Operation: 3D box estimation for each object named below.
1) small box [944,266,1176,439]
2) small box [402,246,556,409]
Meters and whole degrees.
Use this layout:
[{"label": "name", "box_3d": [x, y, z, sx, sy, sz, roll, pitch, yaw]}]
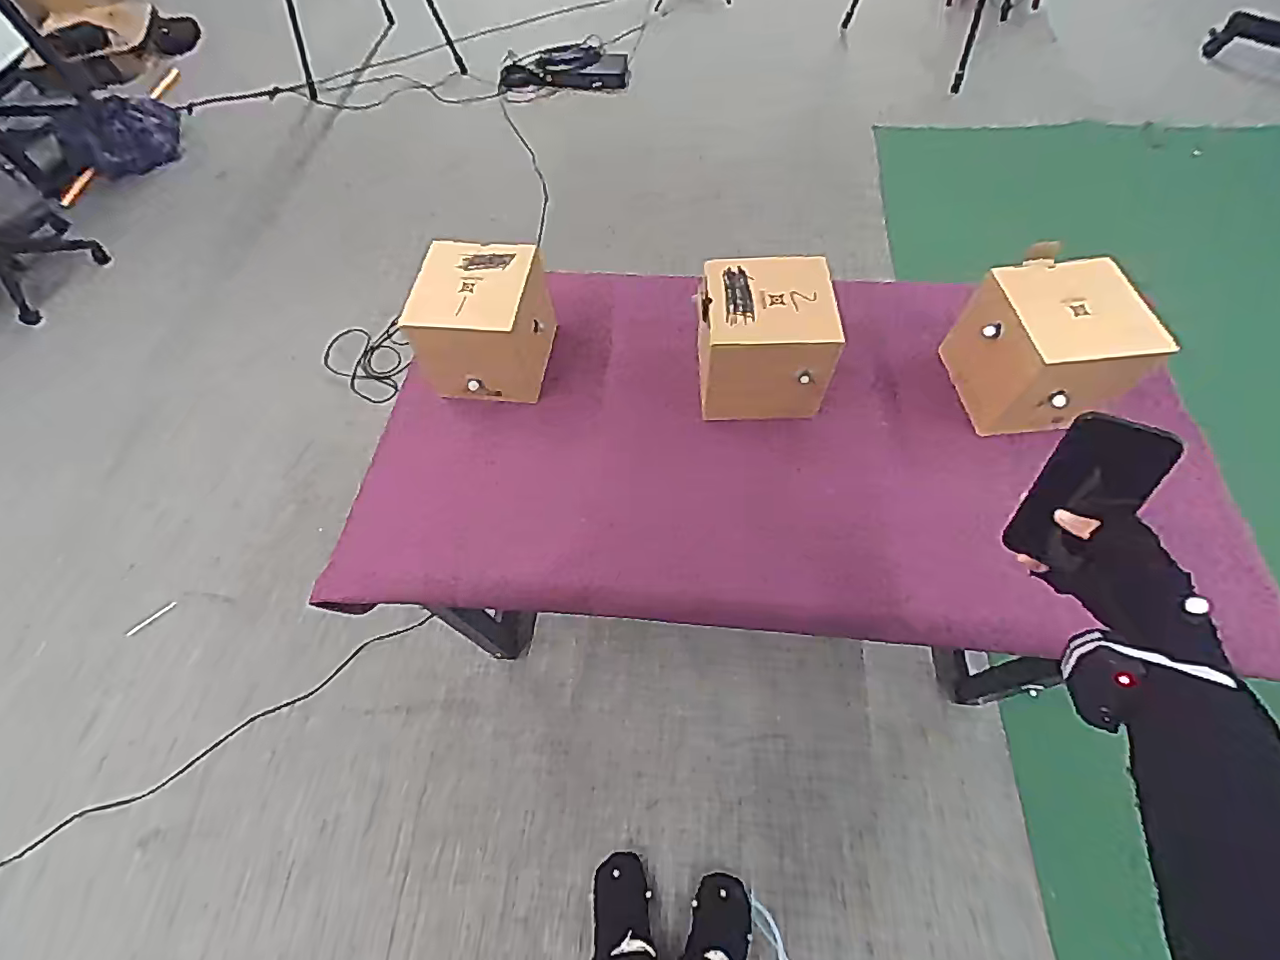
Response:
[{"label": "small box", "box_3d": [0.573, -0.171, 0.769, 0.168, 0.176, 0.179, -5, 60, 1]}, {"label": "small box", "box_3d": [-0.236, -0.236, 0.848, 0.168, 0.176, 0.179, 5, 62, 6]}]
